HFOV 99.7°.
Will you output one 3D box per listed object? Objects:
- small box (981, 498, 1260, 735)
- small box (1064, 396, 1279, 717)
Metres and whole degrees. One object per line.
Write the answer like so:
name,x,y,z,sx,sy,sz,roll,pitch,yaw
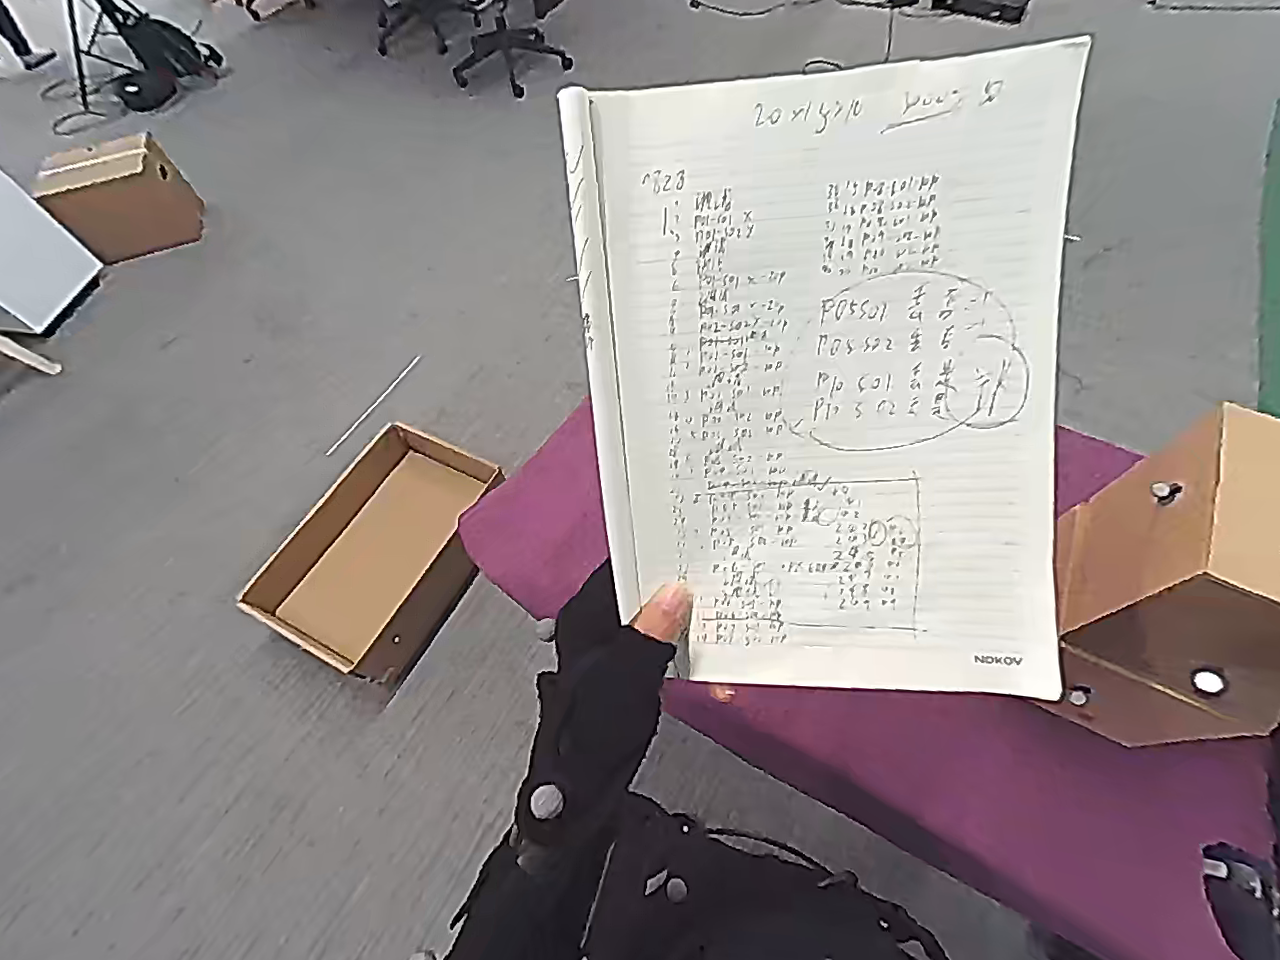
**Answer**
small box,0.508,0.156,0.593,0.168,0.176,0.179,23,64,17
small box,0.503,0.069,0.452,0.168,0.176,0.179,27,65,18
